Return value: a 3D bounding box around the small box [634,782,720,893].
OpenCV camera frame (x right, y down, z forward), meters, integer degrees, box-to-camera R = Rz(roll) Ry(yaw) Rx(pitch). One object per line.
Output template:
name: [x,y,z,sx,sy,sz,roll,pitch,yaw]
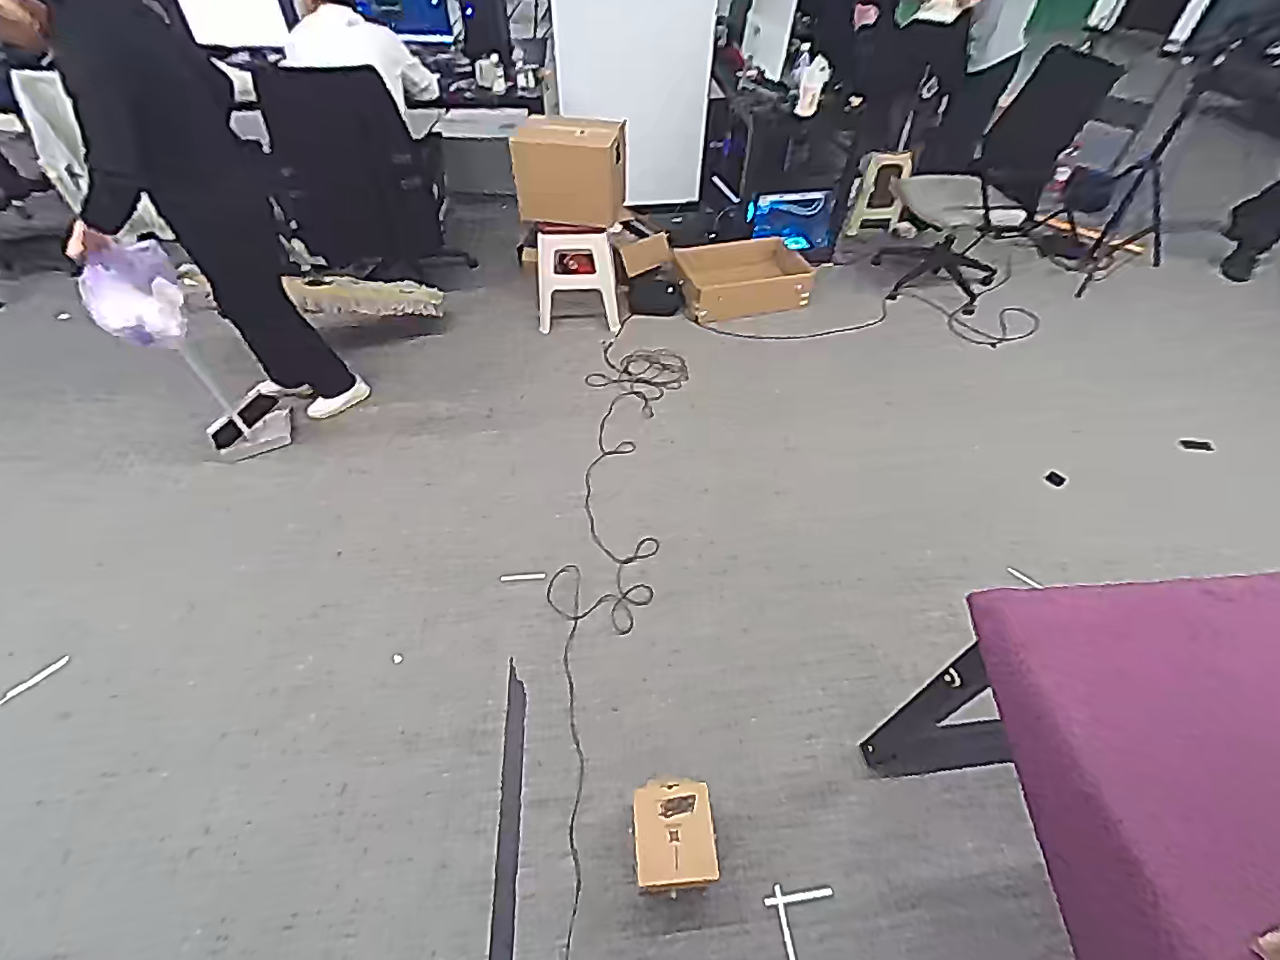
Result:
small box: [0.072,0.781,1.182,0.168,0.176,0.179,-2,49,-3]
